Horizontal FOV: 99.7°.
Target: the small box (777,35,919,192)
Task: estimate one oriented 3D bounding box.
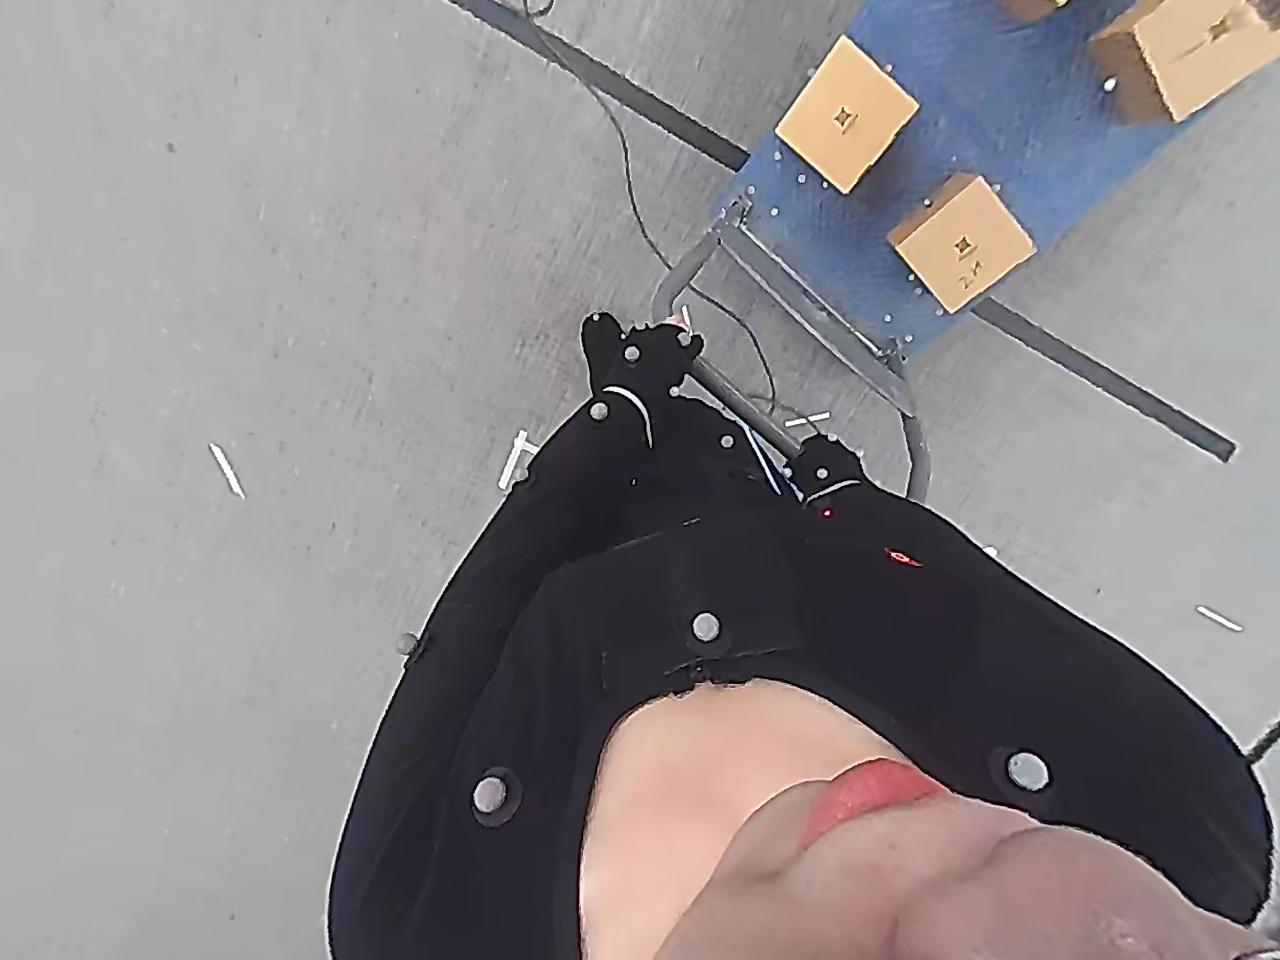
[{"bbox_3d":[0.373,-0.665,1.001,0.179,0.176,0.168,36,124,-9],"label":"small box"}]

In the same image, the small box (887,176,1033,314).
[{"bbox_3d":[0.610,-0.461,1.055,0.179,0.176,0.168,44,123,-12],"label":"small box"}]

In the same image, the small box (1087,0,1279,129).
[{"bbox_3d":[0.858,-0.686,0.842,0.179,0.176,0.168,-32,107,31],"label":"small box"}]
